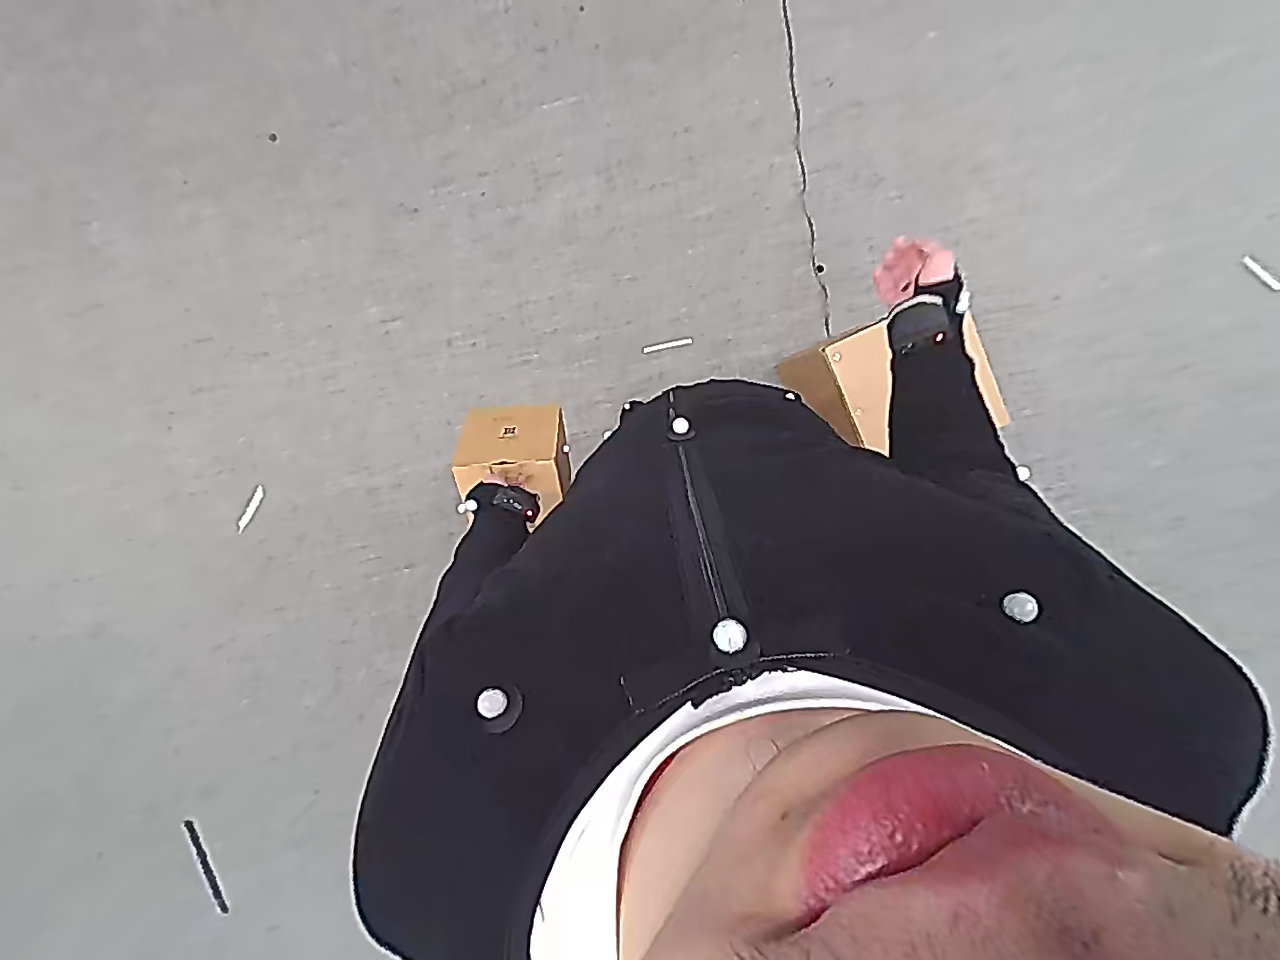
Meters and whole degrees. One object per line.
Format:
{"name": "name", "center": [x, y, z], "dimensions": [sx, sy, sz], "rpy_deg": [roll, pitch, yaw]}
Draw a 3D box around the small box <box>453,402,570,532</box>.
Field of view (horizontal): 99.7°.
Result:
{"name": "small box", "center": [-0.218, -0.019, 0.974], "dimensions": [0.168, 0.179, 0.176], "rpy_deg": [-4, 130, -2]}
